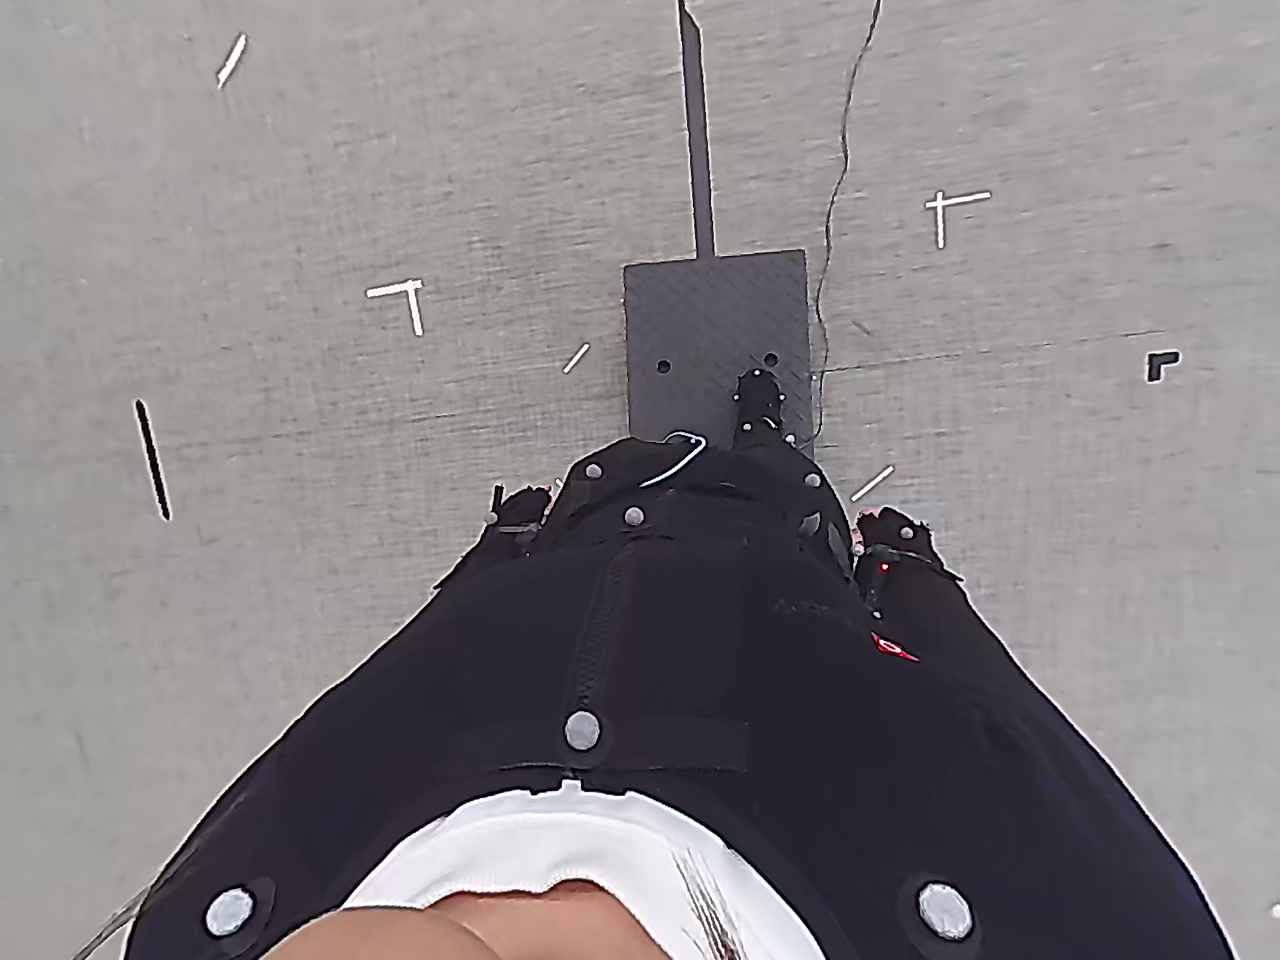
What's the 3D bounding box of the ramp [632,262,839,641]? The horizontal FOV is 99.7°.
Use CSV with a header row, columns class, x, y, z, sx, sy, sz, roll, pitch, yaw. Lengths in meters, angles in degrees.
class,x,y,z,sx,sy,sz,roll,pitch,yaw
ramp,0.241,-0.077,1.457,0.509,0.206,0.991,-5,95,10
